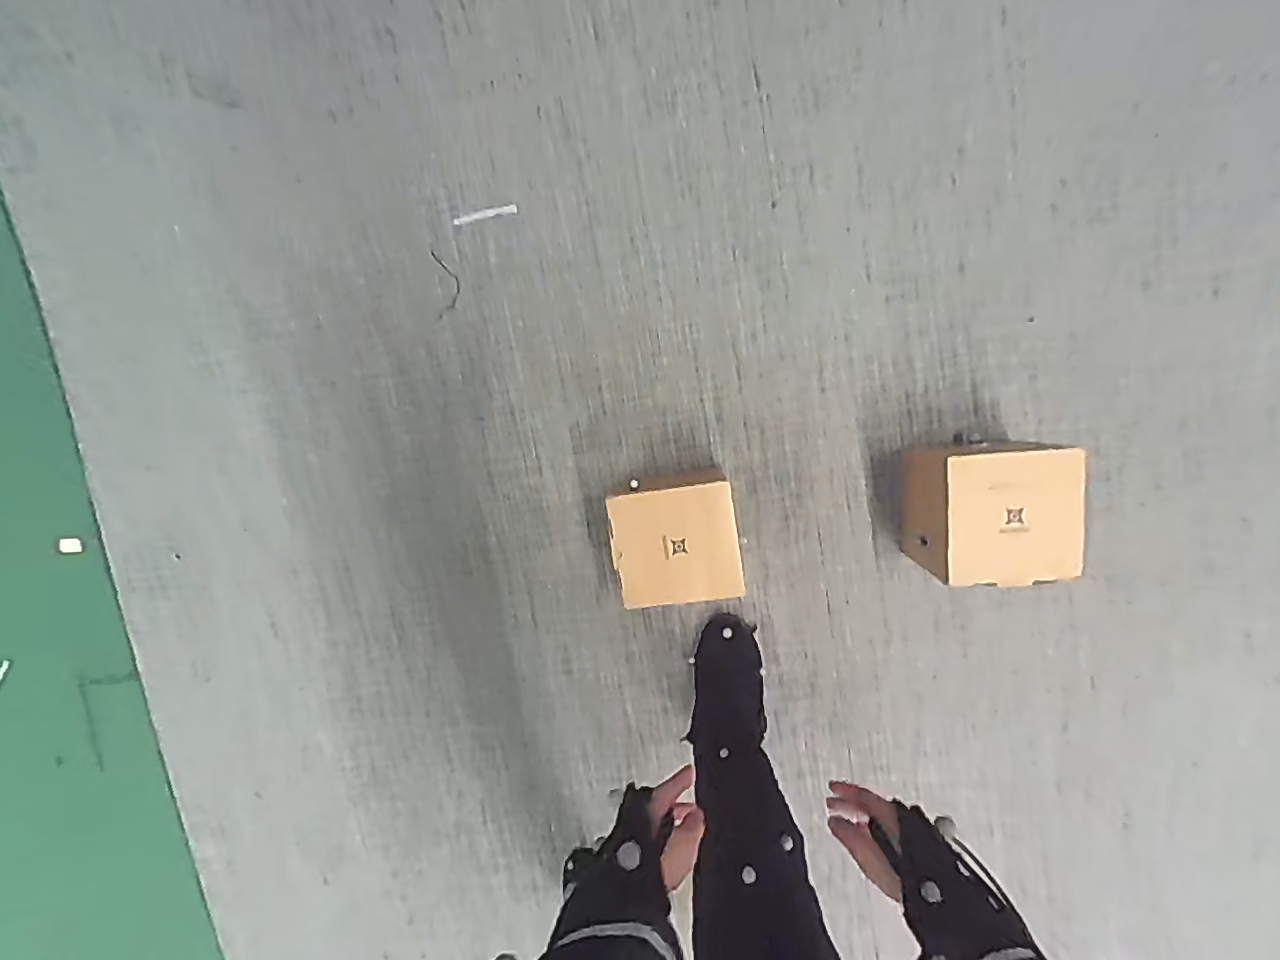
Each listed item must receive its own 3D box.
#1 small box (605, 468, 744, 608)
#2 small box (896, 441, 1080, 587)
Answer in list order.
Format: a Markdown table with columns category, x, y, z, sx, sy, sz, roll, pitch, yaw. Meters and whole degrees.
| category | x | y | z | sx | sy | sz | roll | pitch | yaw |
| --- | --- | --- | --- | --- | --- | --- | --- | --- | --- |
| small box | 0.055 | 0.080 | 0.825 | 0.179 | 0.176 | 0.168 | -8 | 97 | 8 |
| small box | 0.481 | 0.041 | 0.772 | 0.168 | 0.176 | 0.179 | -4 | 96 | 5 |
